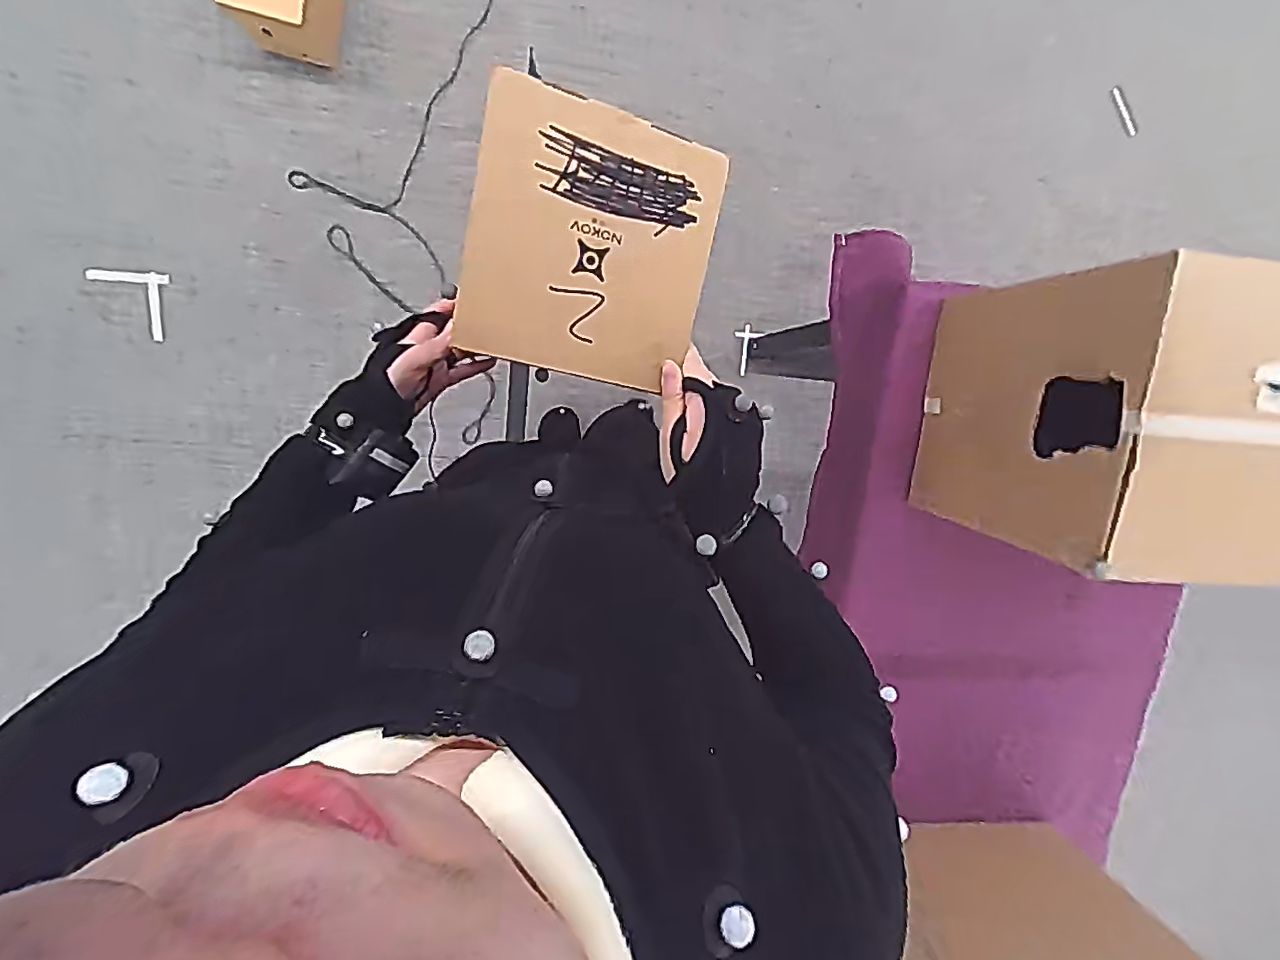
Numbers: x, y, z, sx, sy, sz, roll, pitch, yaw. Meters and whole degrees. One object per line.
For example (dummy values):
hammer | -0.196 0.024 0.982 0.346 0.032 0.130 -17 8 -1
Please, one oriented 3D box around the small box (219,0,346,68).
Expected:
small box | -0.749 -1.029 1.149 0.168 0.176 0.179 10 98 -8
